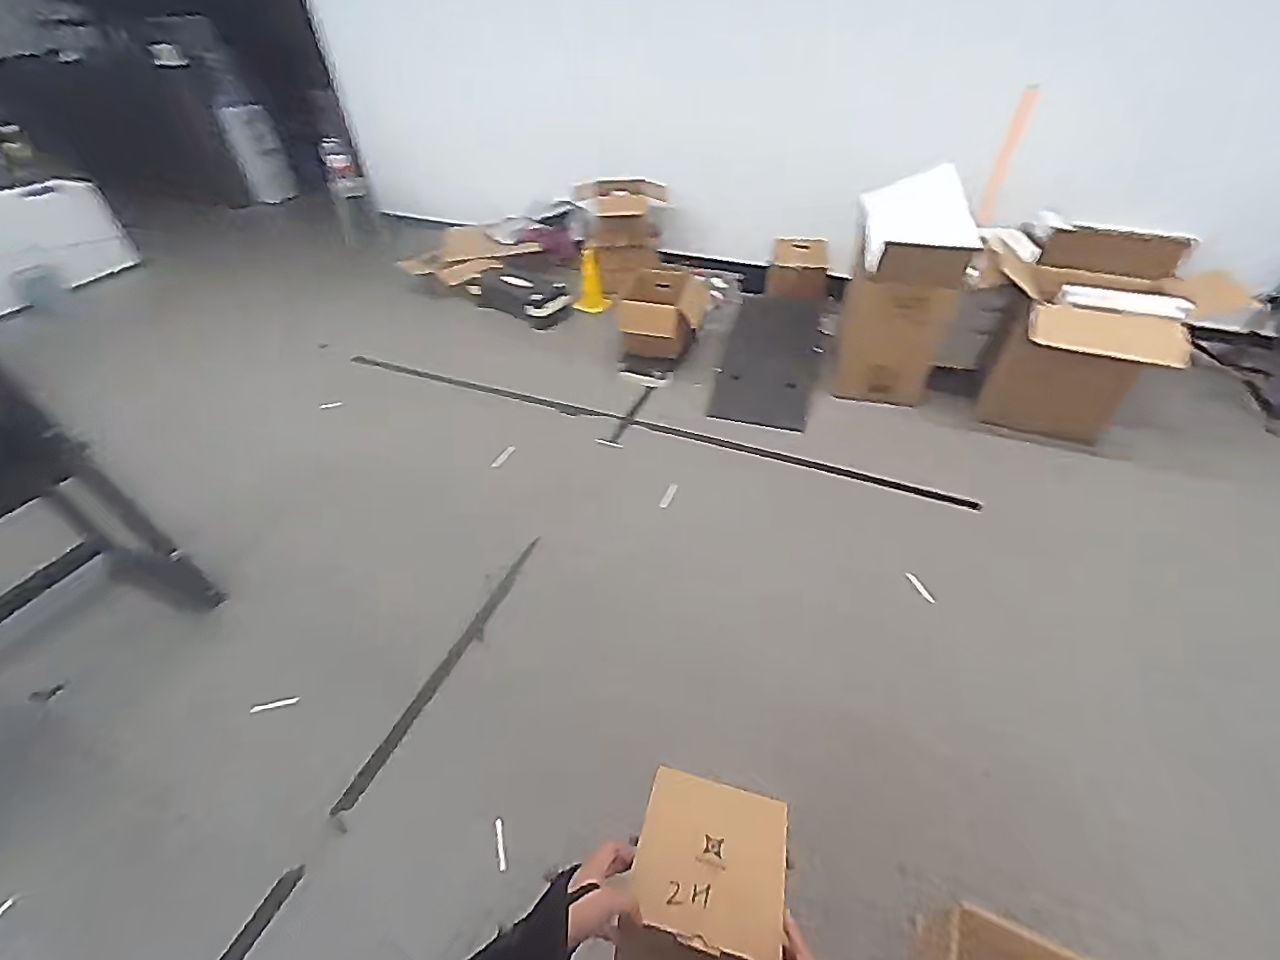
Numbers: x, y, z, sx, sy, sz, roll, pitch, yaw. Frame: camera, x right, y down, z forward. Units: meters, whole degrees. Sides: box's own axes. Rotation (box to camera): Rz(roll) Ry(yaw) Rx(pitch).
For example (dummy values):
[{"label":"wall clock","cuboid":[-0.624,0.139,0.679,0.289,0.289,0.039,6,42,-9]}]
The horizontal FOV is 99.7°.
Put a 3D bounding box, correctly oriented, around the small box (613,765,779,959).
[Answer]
[{"label":"small box","cuboid":[0.066,0.490,0.647,0.168,0.176,0.179,9,29,12]}]
